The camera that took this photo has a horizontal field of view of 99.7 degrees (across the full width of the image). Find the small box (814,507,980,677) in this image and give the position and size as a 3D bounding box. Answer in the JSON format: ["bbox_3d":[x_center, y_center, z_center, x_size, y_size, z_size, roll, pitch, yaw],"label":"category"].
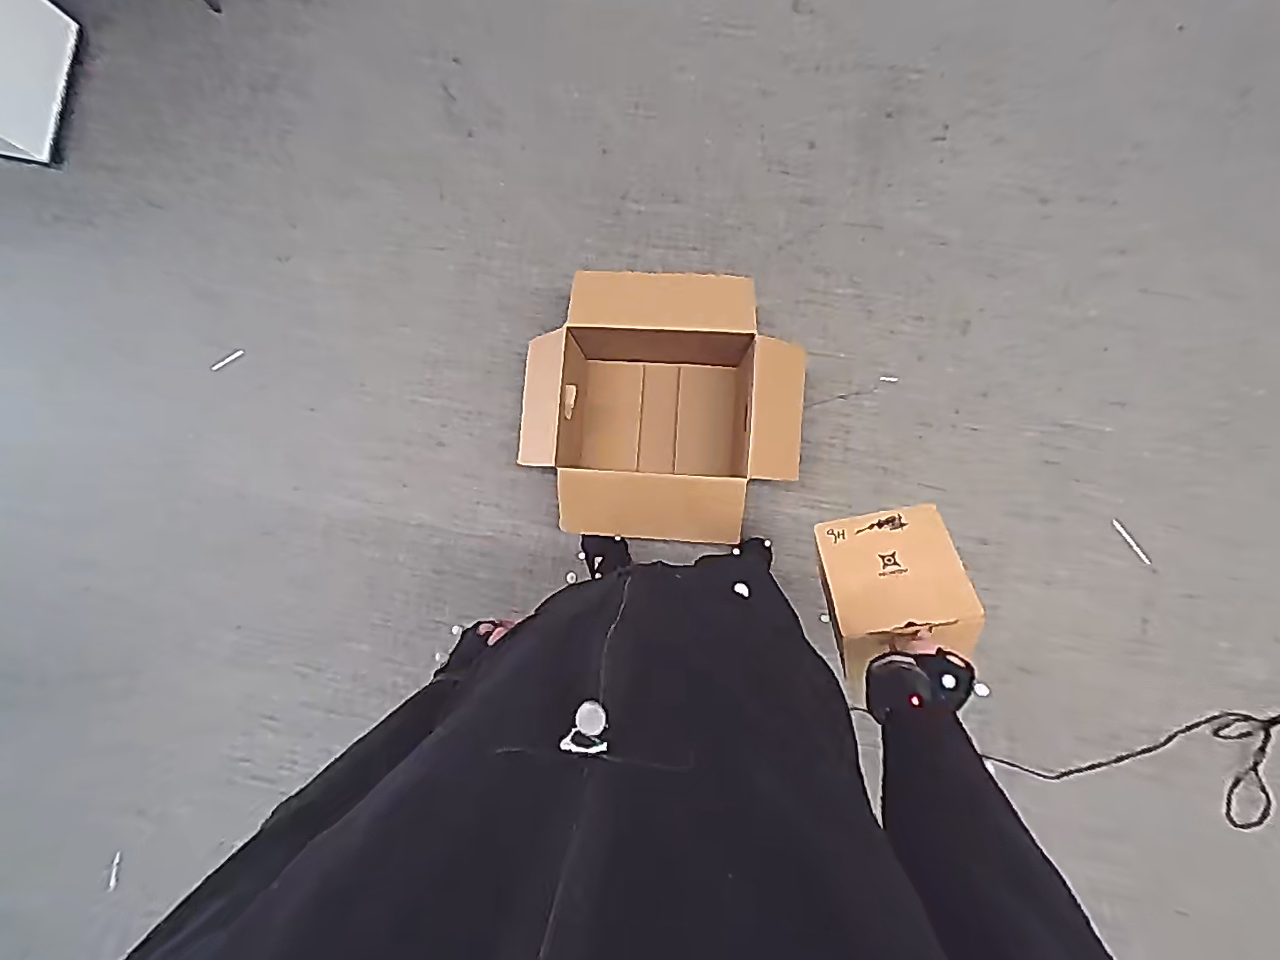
[{"bbox_3d":[0.353,0.167,0.768,0.168,0.176,0.179,-11,48,14],"label":"small box"}]
